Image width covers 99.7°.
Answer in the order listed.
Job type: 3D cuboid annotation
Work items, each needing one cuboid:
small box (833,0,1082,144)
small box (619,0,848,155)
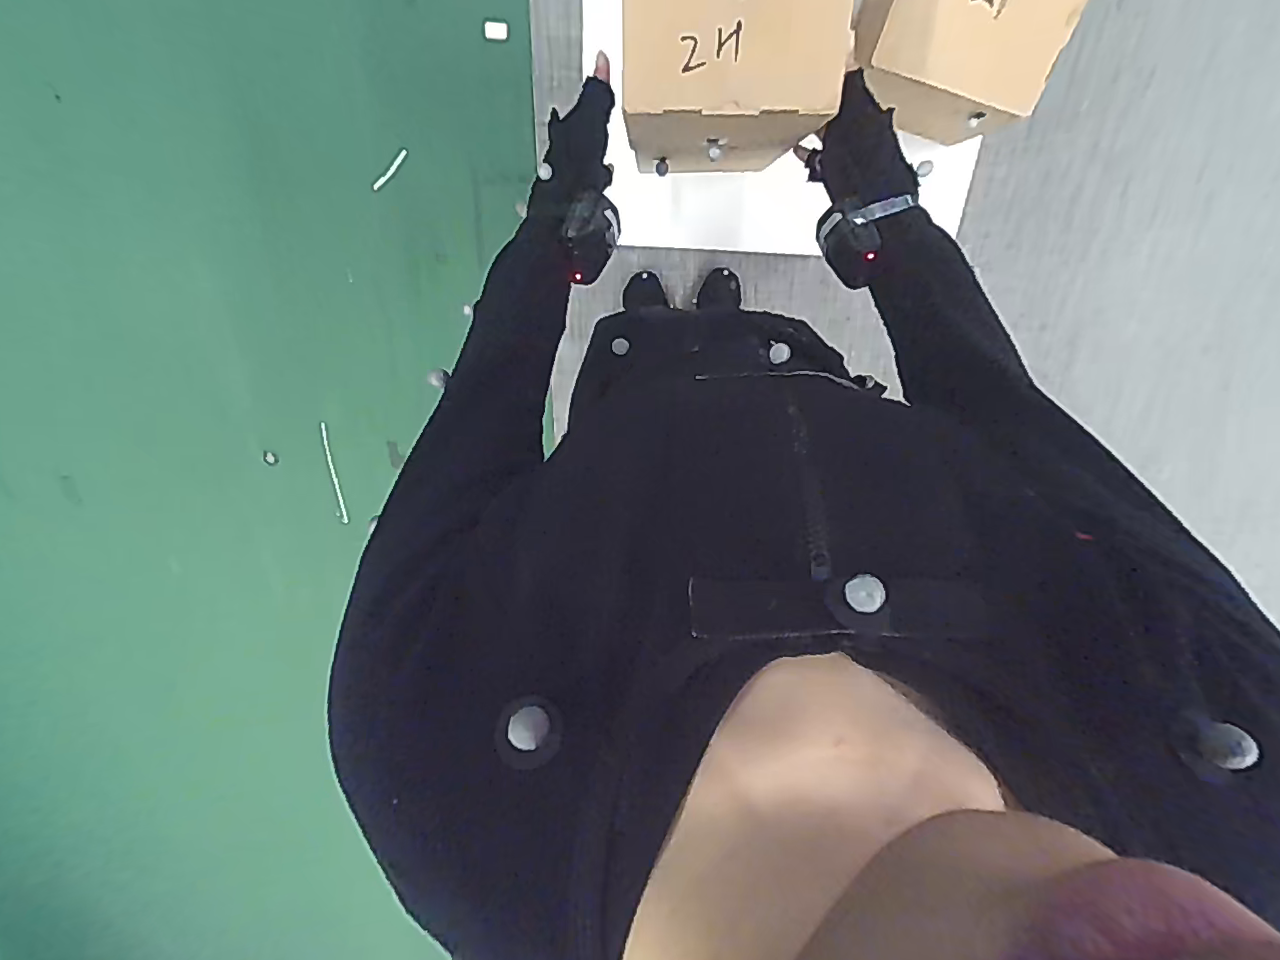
[{"bbox_3d":[0.330,-0.486,0.582,0.179,0.176,0.168,15,113,-4],"label":"small box"},{"bbox_3d":[0.068,-0.389,0.452,0.168,0.176,0.179,1,113,1],"label":"small box"}]
